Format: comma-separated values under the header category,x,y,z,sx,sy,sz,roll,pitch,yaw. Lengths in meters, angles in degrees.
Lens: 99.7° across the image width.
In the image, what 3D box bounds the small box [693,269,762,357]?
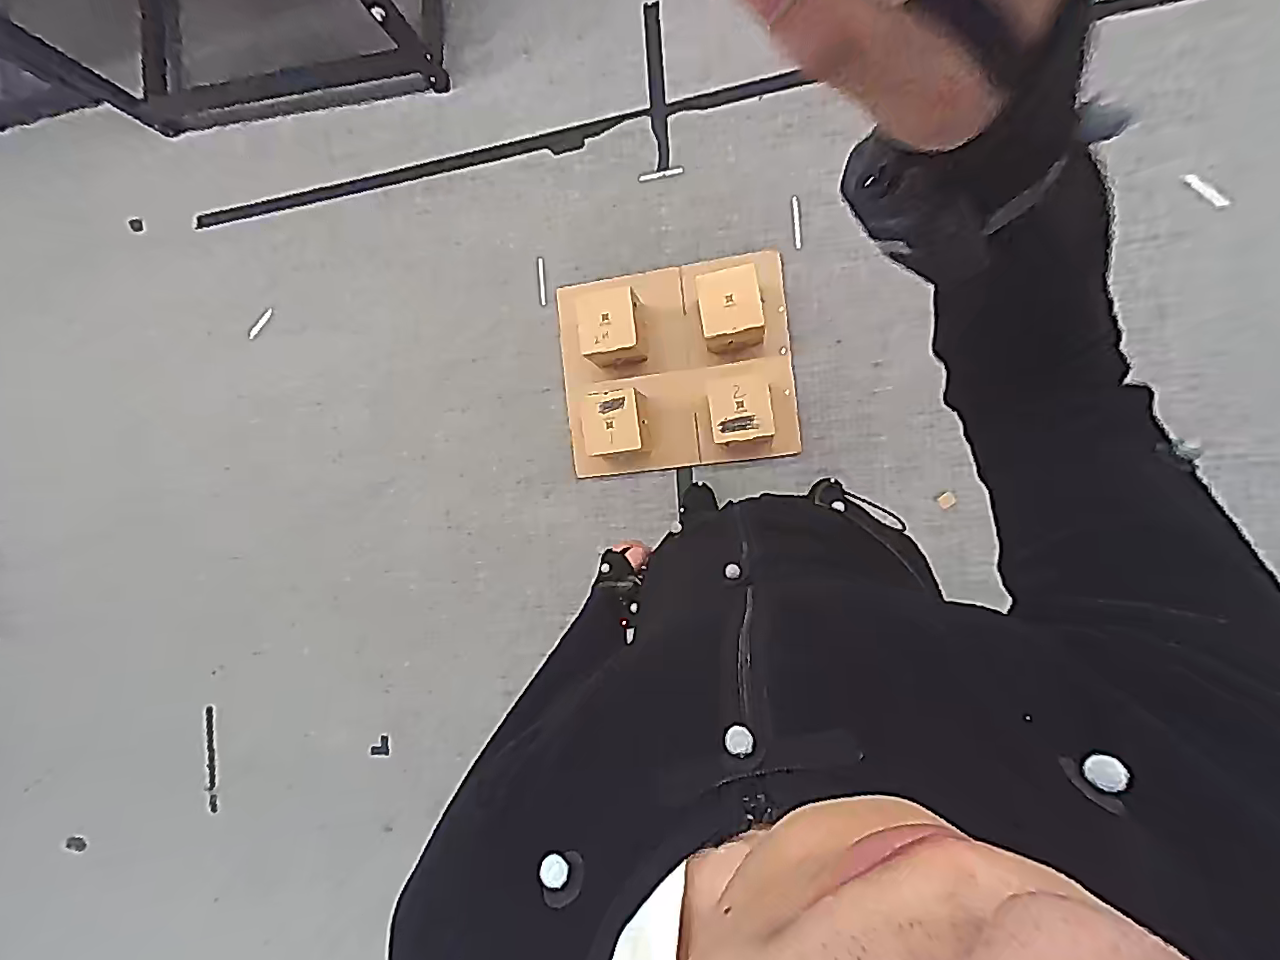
category,x,y,z,sx,sy,sz,roll,pitch,yaw
small box,0.250,-0.470,1.542,0.168,0.176,0.179,-10,88,11

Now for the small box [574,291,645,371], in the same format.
category,x,y,z,sx,sy,sz,roll,pitch,yaw
small box,-0.086,-0.435,1.604,0.168,0.176,0.179,-7,89,12

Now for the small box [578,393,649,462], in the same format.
category,x,y,z,sx,sy,sz,roll,pitch,yaw
small box,-0.074,-0.150,1.602,0.168,0.176,0.179,-8,89,12
